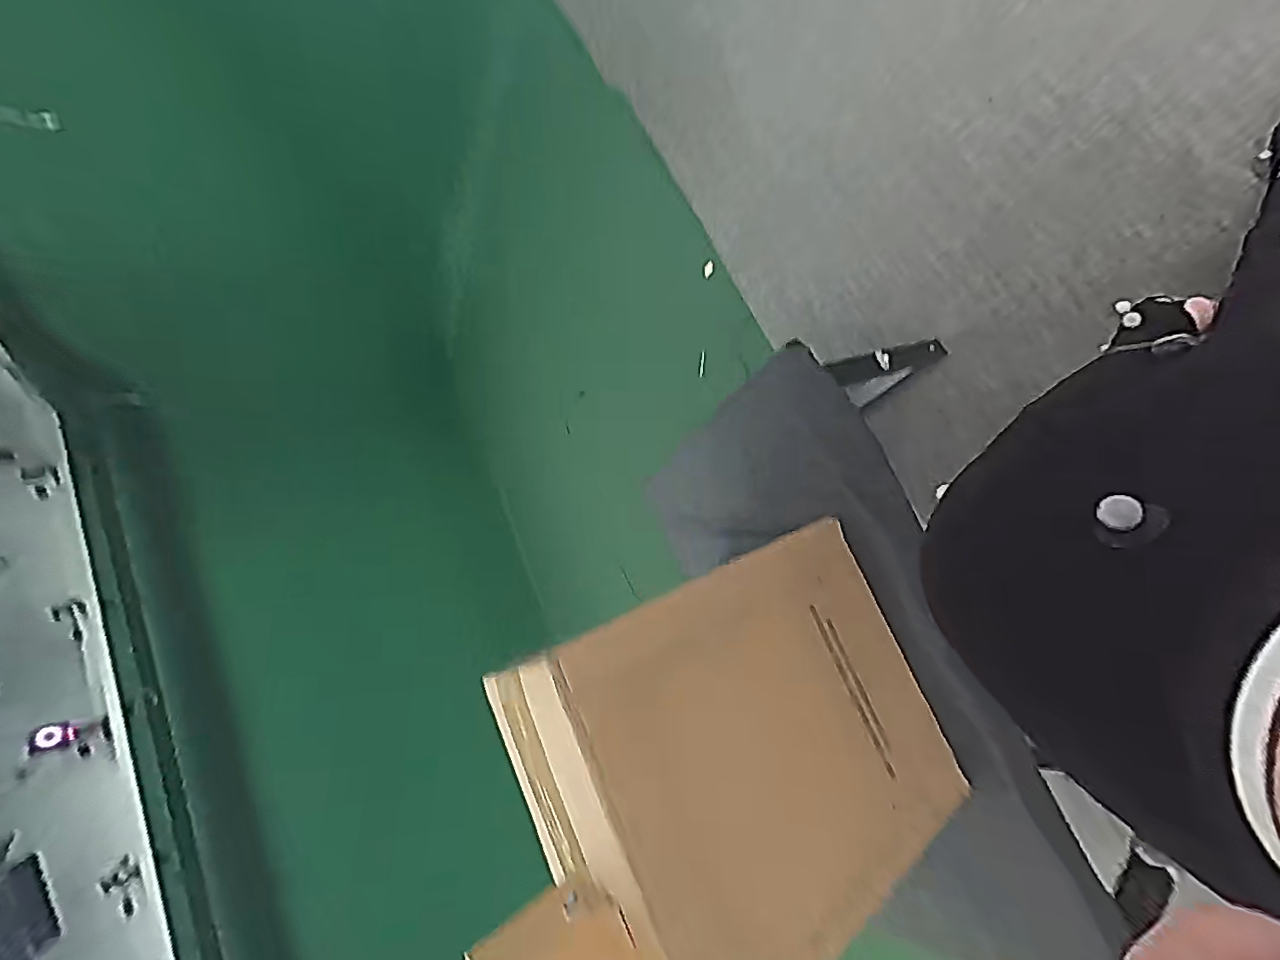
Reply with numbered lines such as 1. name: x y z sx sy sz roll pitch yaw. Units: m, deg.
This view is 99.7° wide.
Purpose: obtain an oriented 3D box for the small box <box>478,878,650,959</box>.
1. small box: -0.080 0.666 0.692 0.168 0.176 0.179 -37 74 51
